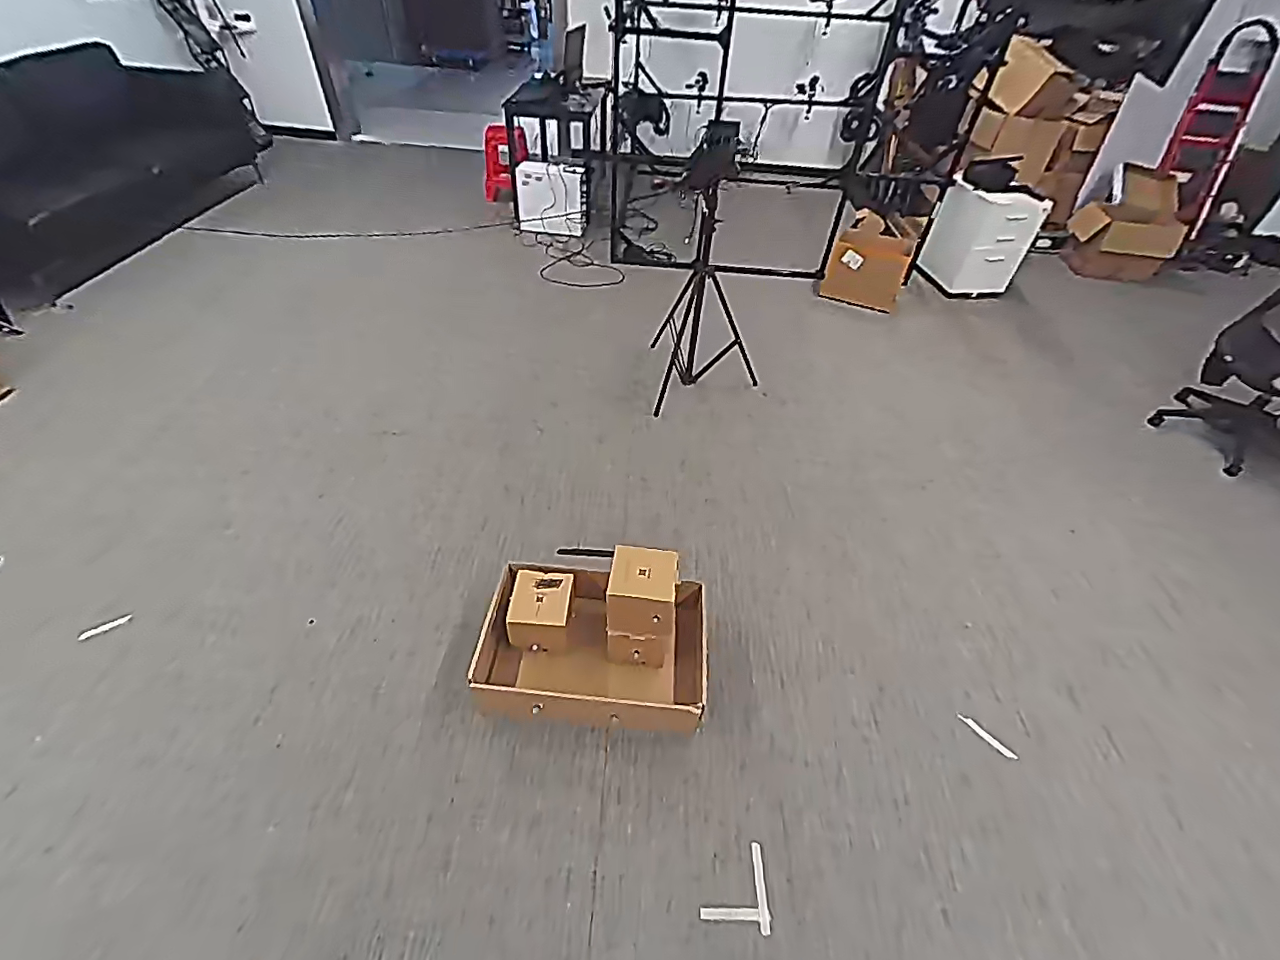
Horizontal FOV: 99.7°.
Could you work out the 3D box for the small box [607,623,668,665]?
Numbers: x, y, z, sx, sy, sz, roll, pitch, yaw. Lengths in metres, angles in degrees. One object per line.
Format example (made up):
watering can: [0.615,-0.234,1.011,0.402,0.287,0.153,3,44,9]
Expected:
small box: [0.000,0.422,1.579,0.168,0.176,0.179,4,46,4]

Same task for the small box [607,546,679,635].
small box: [0.010,0.302,1.467,0.179,0.176,0.168,5,43,4]
